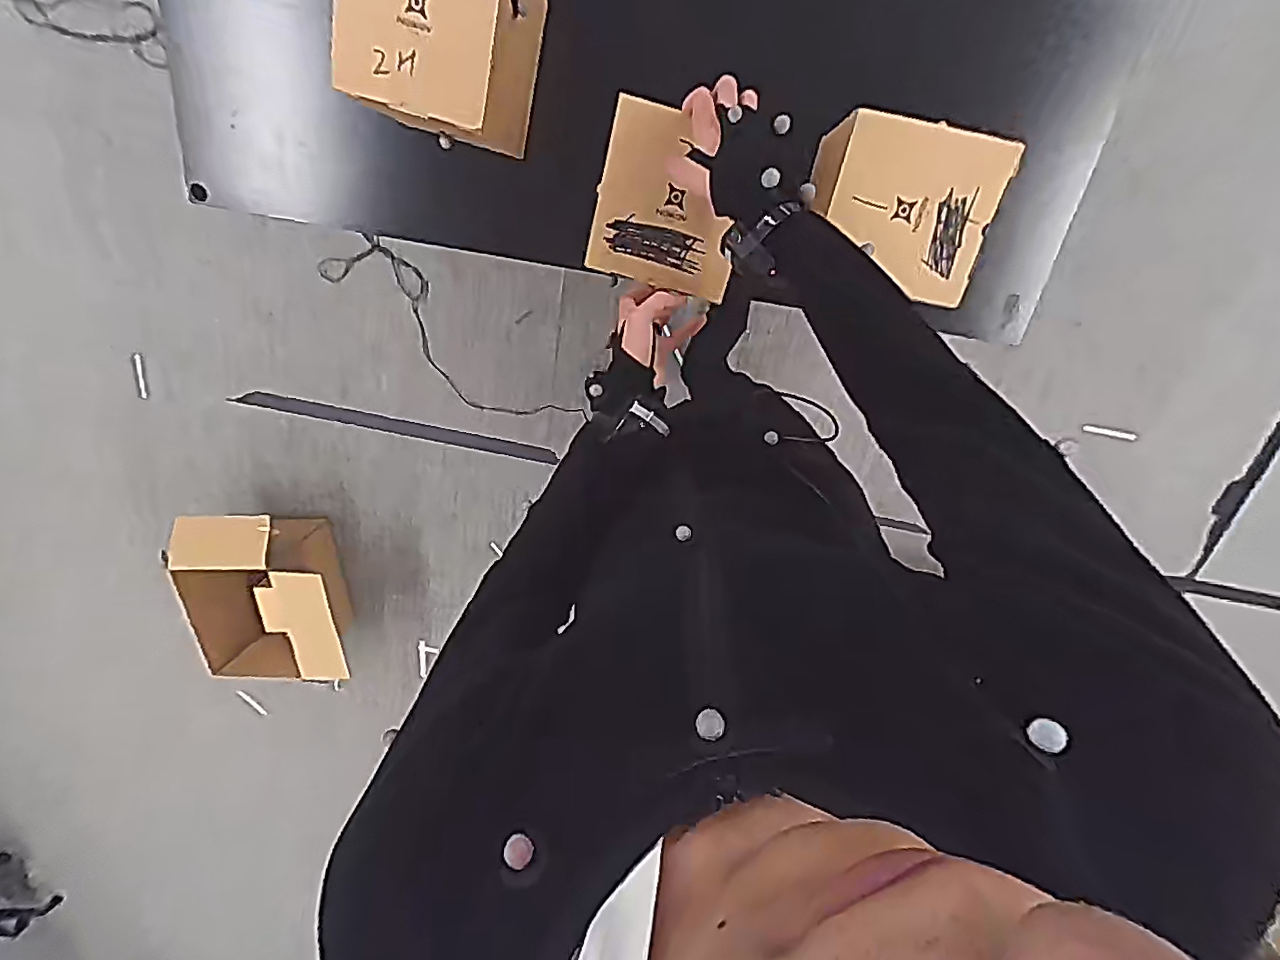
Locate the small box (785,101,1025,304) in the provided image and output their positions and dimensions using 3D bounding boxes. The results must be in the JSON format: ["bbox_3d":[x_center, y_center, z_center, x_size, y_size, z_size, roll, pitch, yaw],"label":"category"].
[{"bbox_3d":[0.292,-0.318,0.644,0.179,0.176,0.168,12,113,-1],"label":"small box"}]

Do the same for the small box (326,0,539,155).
[{"bbox_3d":[-0.220,-0.494,0.607,0.168,0.176,0.179,15,113,-2],"label":"small box"}]
